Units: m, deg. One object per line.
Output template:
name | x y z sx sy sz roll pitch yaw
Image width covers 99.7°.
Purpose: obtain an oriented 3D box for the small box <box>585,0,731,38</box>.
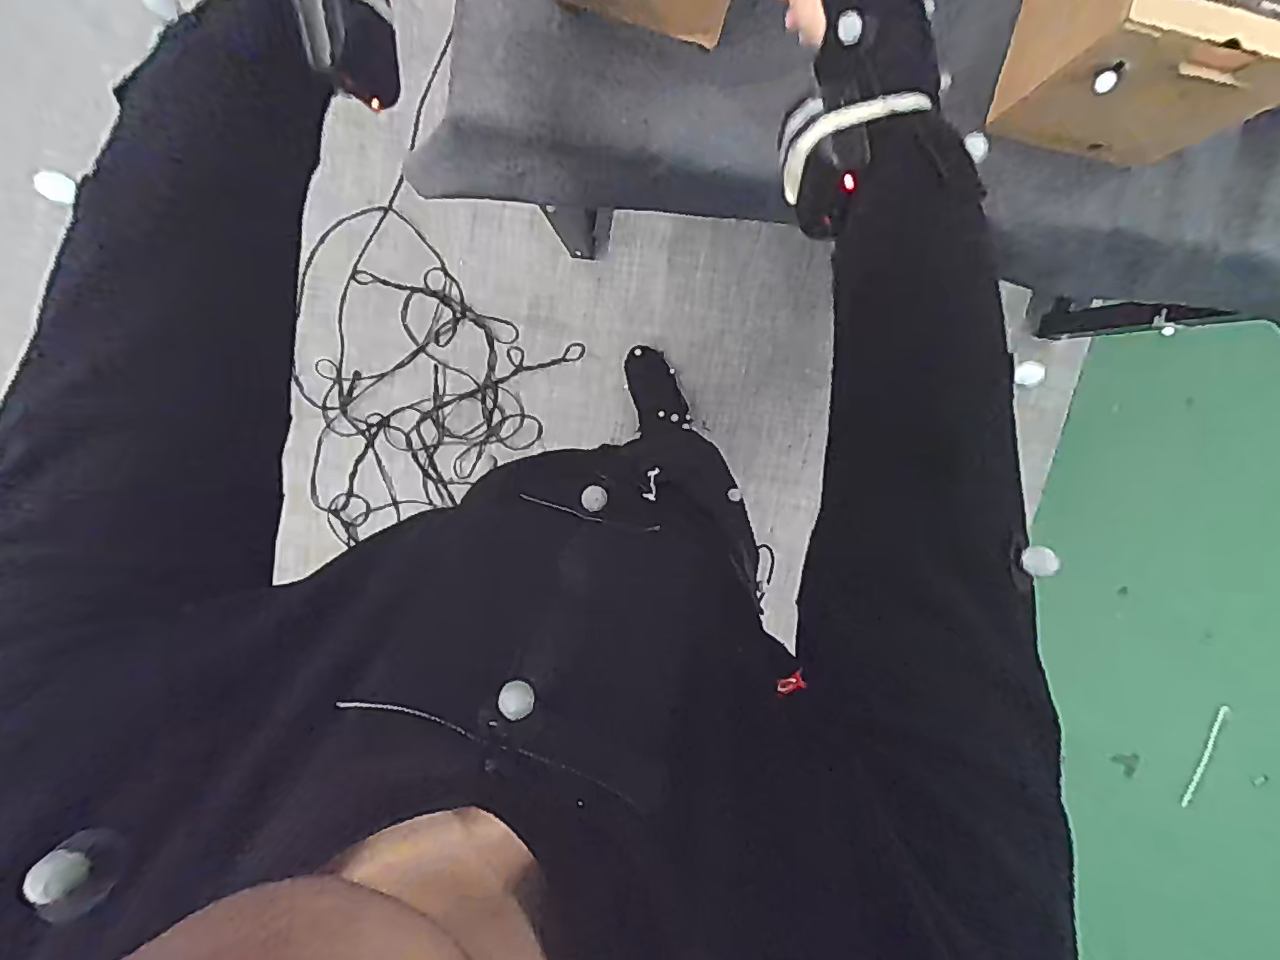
small box | 0.017 -0.514 0.441 0.179 0.176 0.168 16 101 -4
